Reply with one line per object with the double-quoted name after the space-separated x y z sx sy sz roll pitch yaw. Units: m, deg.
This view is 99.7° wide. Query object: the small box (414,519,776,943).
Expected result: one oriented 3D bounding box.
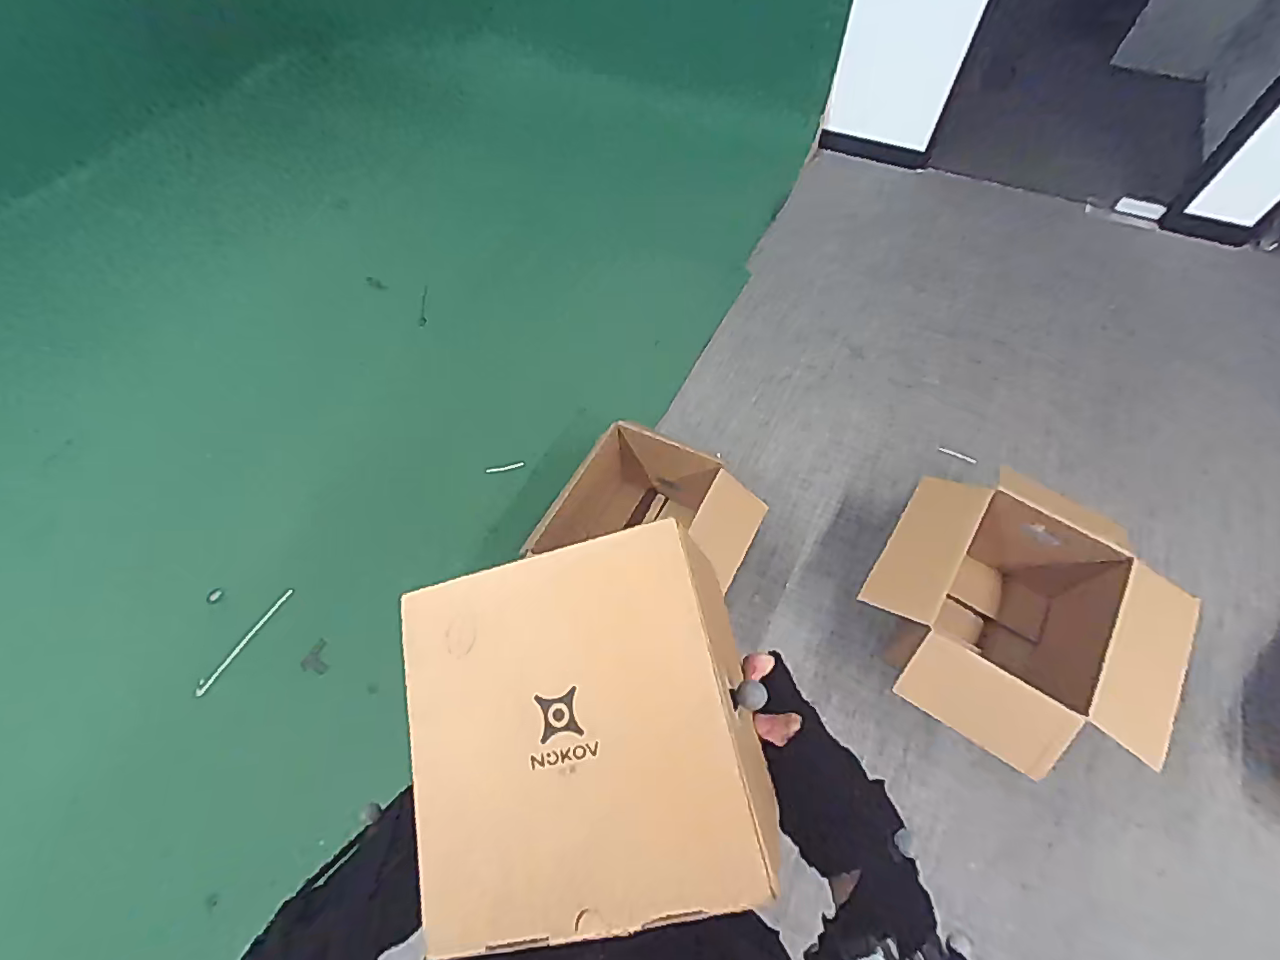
-0.018 0.144 0.351 0.168 0.176 0.179 -17 71 9 "small box"
